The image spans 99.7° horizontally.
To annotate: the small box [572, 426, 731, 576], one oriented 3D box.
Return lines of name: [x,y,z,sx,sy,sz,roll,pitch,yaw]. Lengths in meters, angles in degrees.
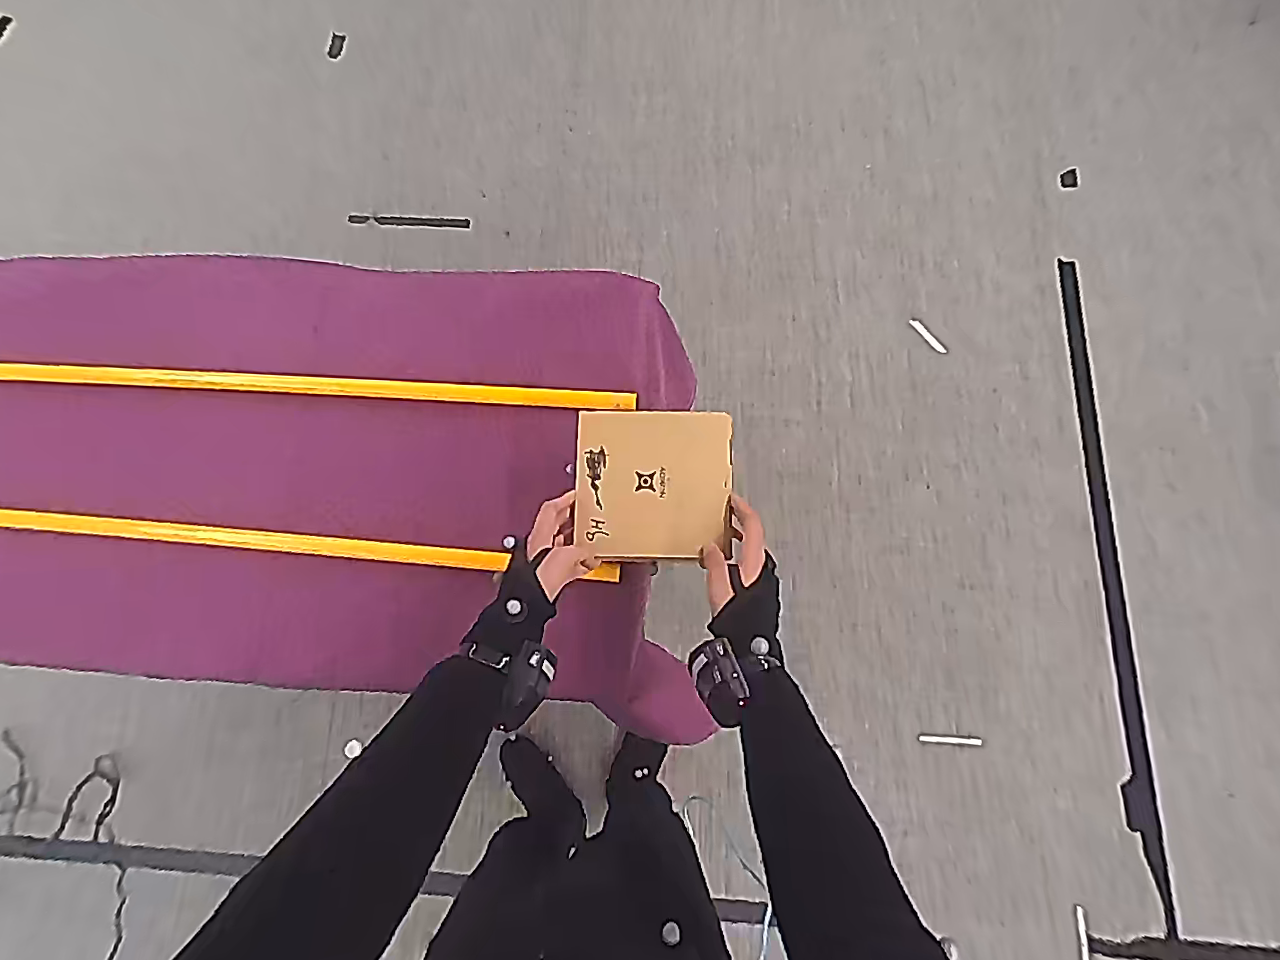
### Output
small box: [0.015,0.034,0.687,0.179,0.176,0.168,2,80,2]
